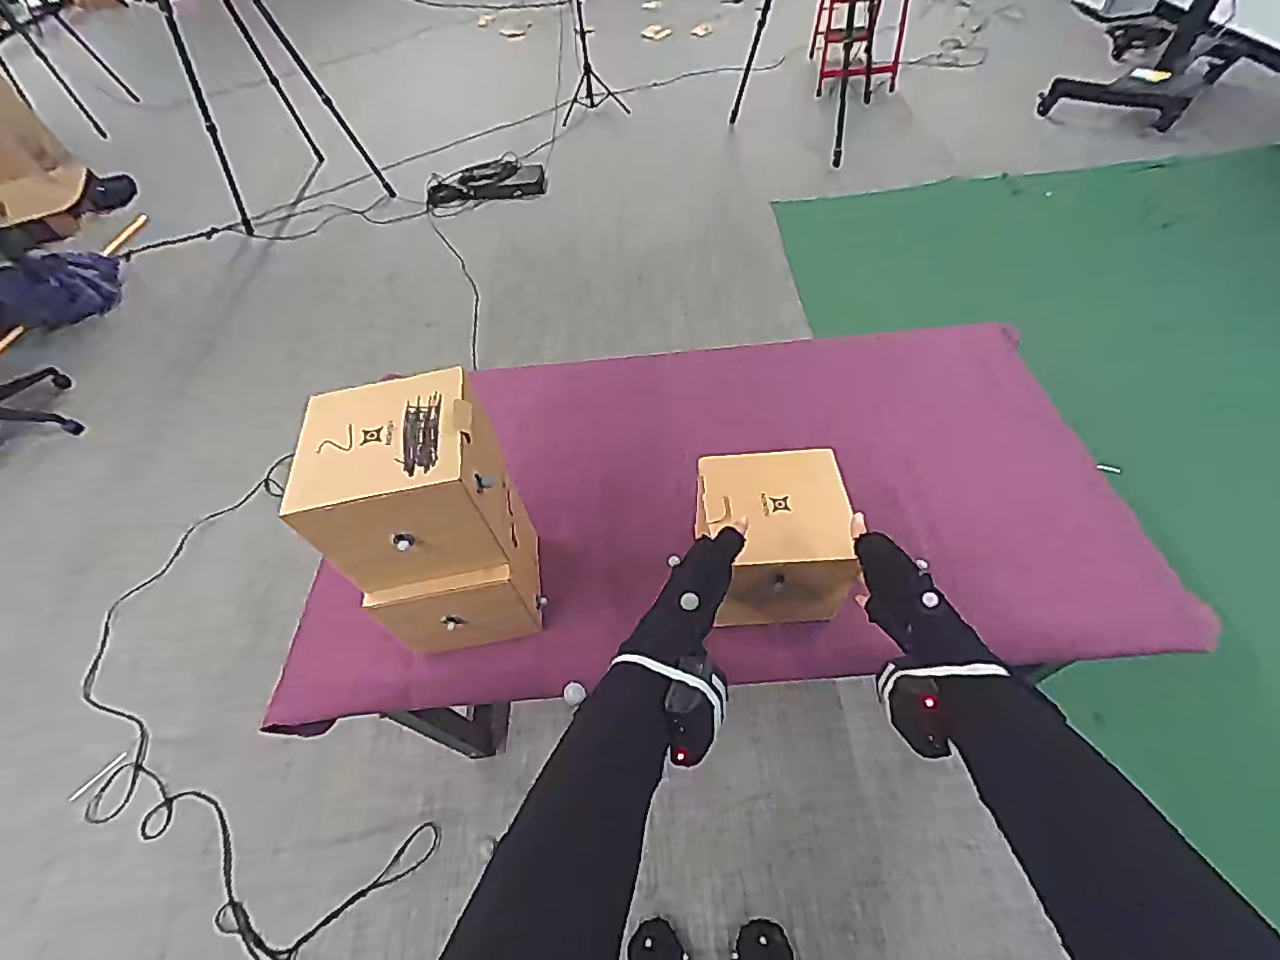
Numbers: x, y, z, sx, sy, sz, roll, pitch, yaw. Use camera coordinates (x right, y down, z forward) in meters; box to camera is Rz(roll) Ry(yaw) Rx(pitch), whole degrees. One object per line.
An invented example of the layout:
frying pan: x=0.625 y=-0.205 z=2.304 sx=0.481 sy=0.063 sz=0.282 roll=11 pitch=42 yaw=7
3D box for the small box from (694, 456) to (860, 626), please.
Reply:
small box: x=0.167 y=0.085 z=0.725 sx=0.179 sy=0.176 sz=0.168 roll=-3 pitch=52 yaw=2

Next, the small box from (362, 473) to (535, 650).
small box: x=-0.245 y=0.116 z=0.741 sx=0.179 sy=0.176 sz=0.168 roll=-10 pitch=53 yaw=-2
